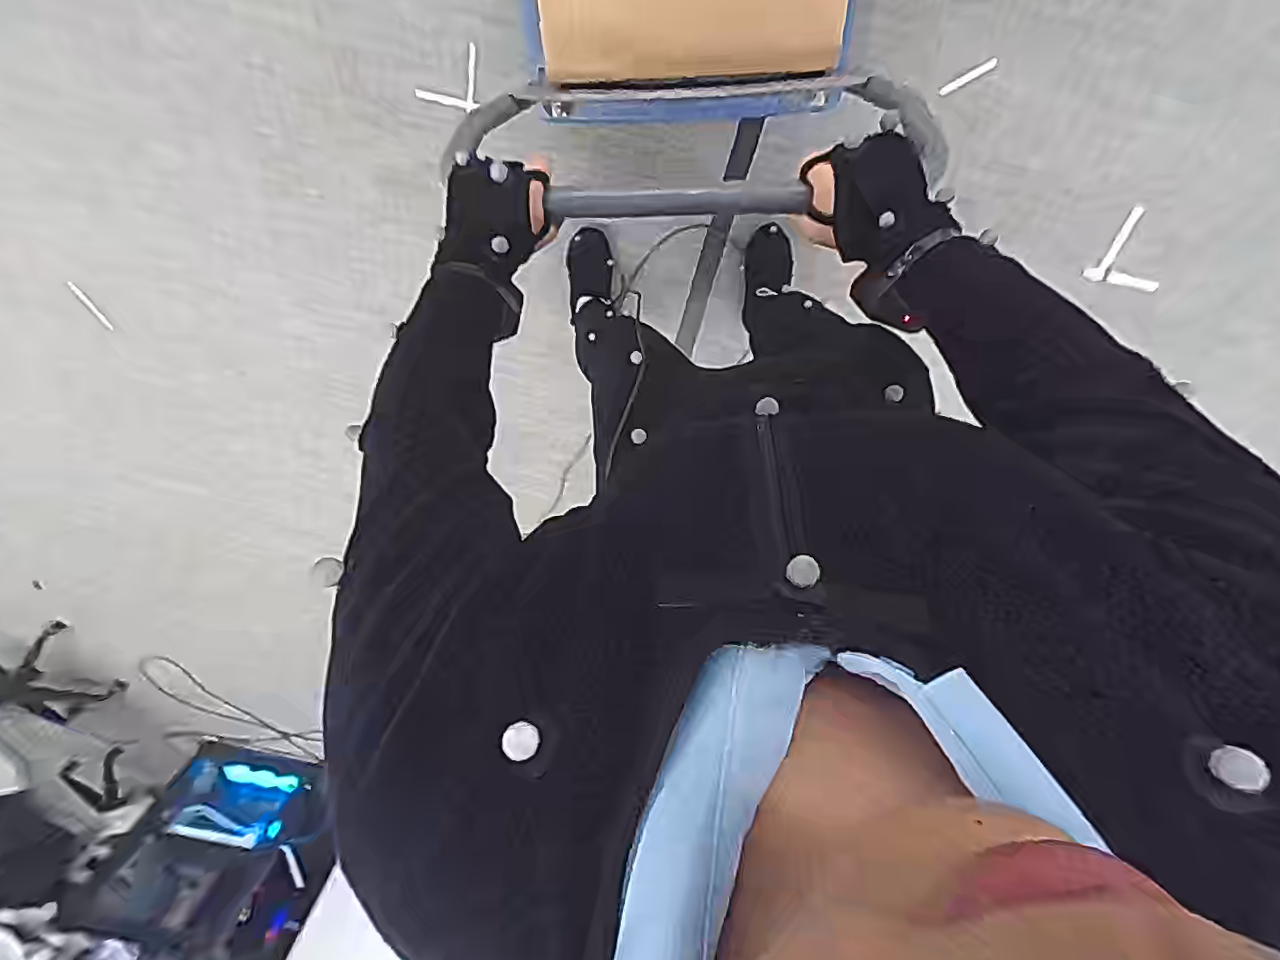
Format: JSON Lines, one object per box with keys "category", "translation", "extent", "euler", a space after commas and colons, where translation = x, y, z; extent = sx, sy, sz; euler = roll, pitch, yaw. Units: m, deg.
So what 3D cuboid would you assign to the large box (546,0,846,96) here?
{"category": "large box", "translation": [0.074, -0.777, 0.794], "extent": [0.408, 0.320, 0.320], "euler": [-1, 128, 5]}
